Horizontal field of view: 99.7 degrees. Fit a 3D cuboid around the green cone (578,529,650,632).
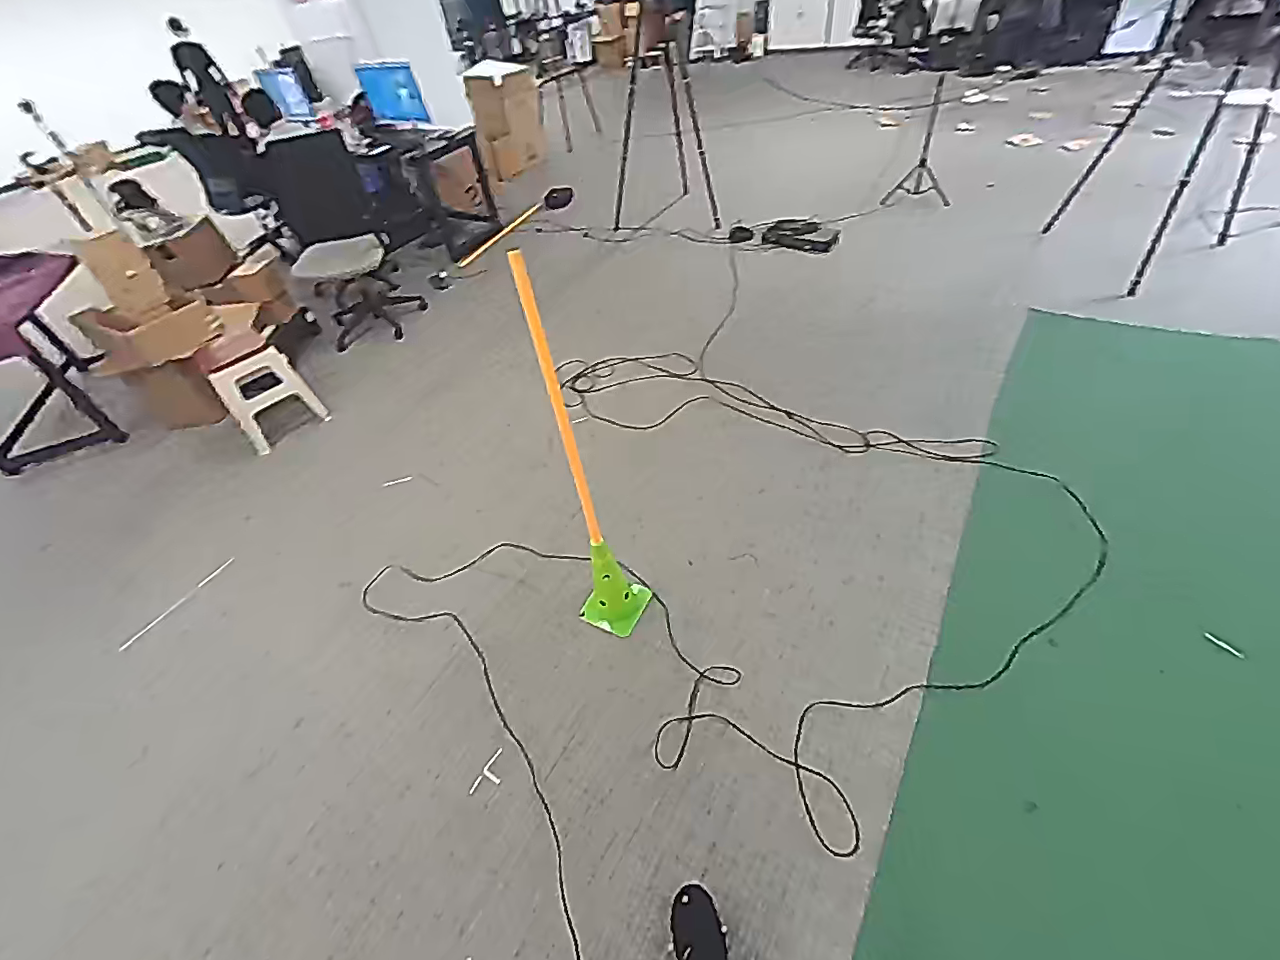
[{"bbox_3d":[-0.106,0.291,1.736,0.200,0.368,0.202,16,49,24],"label":"green cone"}]
